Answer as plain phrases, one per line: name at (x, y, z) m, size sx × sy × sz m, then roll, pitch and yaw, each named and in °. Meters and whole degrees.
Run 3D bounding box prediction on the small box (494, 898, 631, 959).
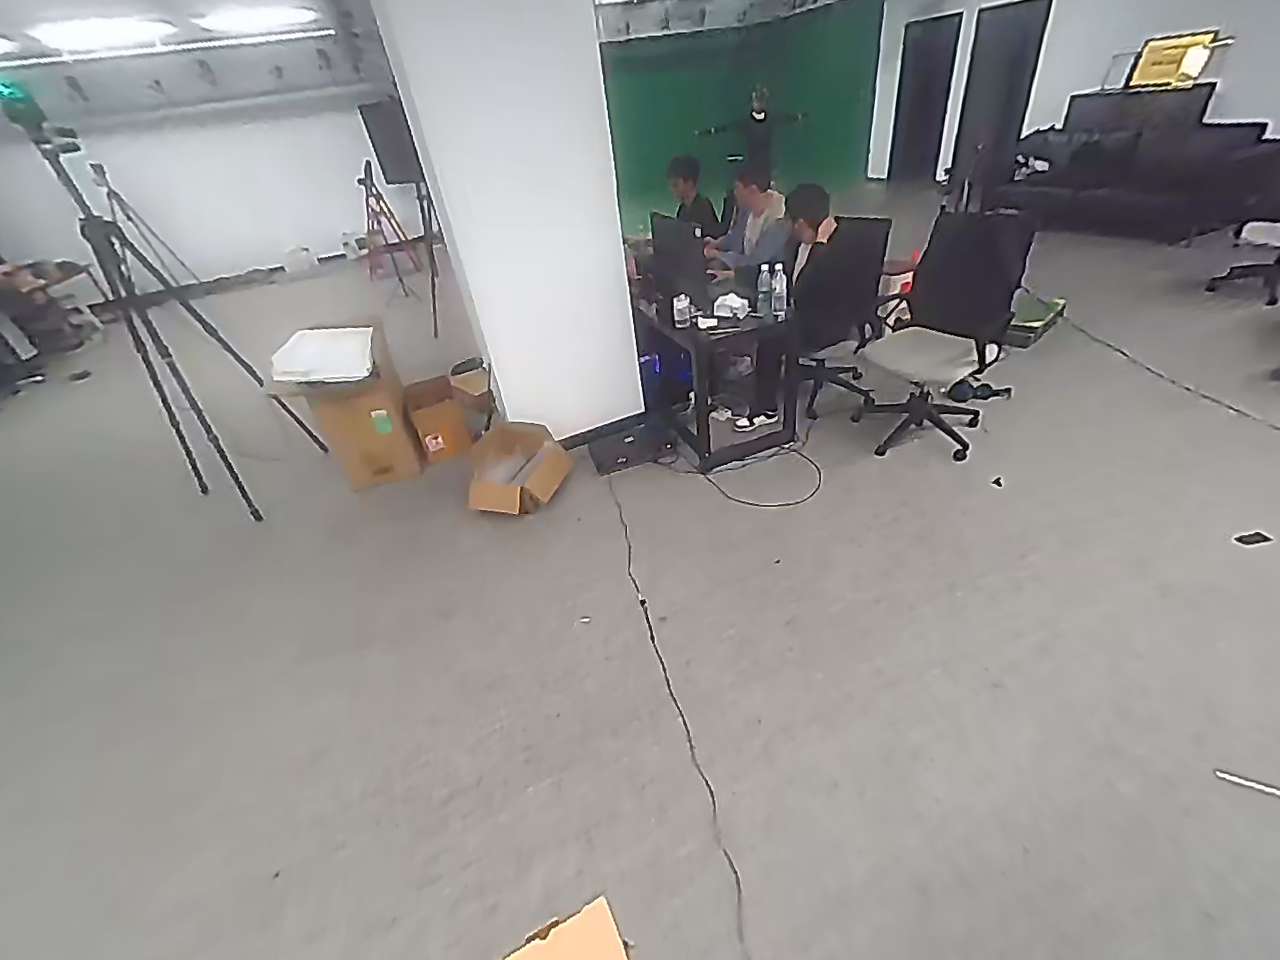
small box at (-0.074, 0.654, 0.639) m, size 0.168 × 0.176 × 0.179 m, roll -20°, pitch 42°, yaw -17°
